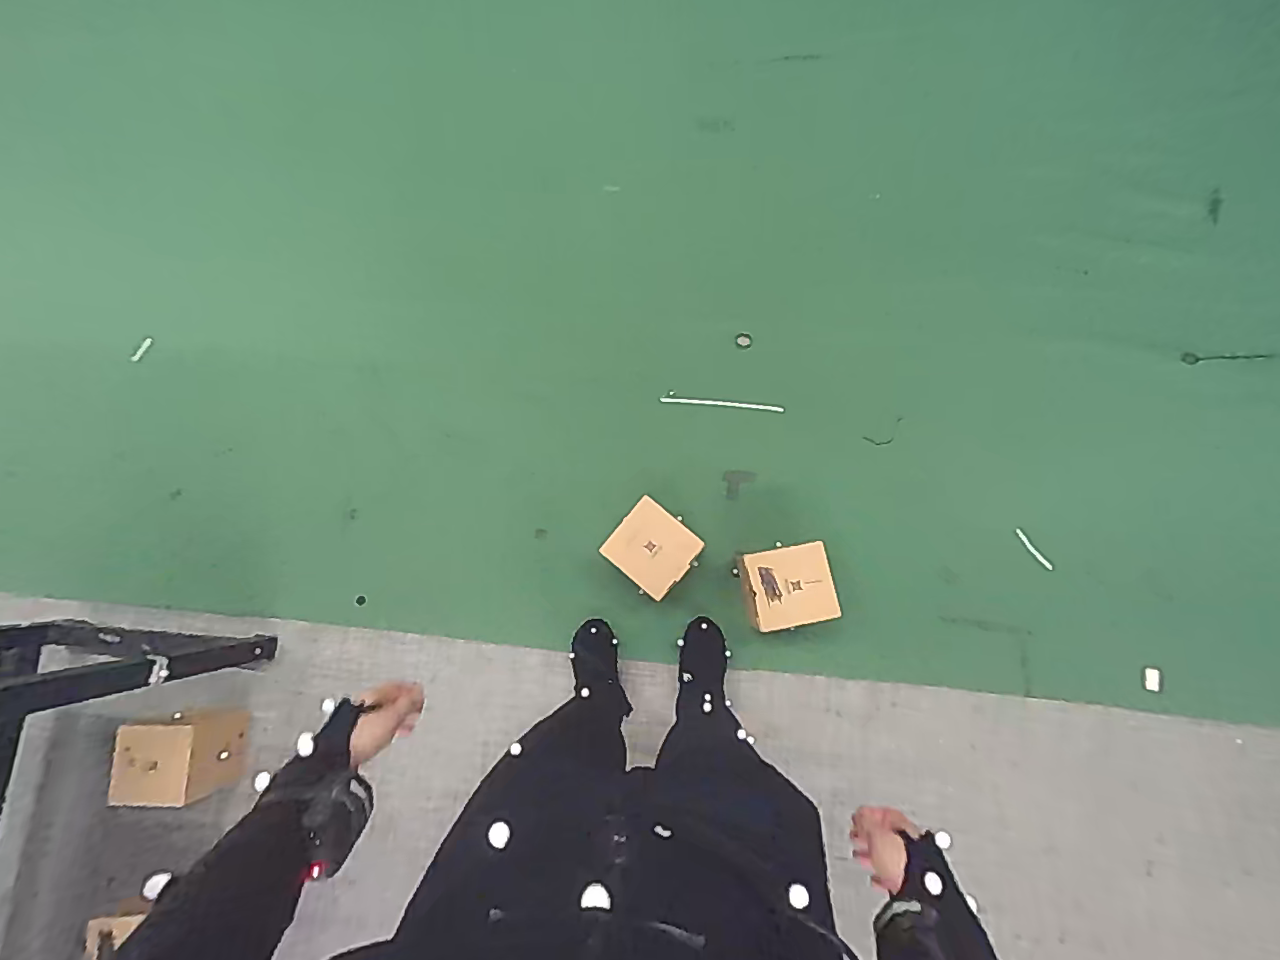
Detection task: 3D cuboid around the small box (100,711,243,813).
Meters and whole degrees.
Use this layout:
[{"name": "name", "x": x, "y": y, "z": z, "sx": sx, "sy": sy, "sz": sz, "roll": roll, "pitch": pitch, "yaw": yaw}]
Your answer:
[{"name": "small box", "x": -1.054, "y": 0.635, "z": 1.233, "sx": 0.179, "sy": 0.176, "sz": 0.168, "roll": 0, "pitch": 80, "yaw": 3}]

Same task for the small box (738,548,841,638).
[{"name": "small box", "x": 0.326, "y": 0.254, "z": 1.225, "sx": 0.179, "sy": 0.176, "sz": 0.168, "roll": -11, "pitch": 80, "yaw": 0}]

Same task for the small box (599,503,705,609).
[{"name": "small box", "x": 0.030, "y": 0.176, "z": 1.255, "sx": 0.179, "sy": 0.176, "sz": 0.168, "roll": 39, "pitch": 84, "yaw": 9}]
